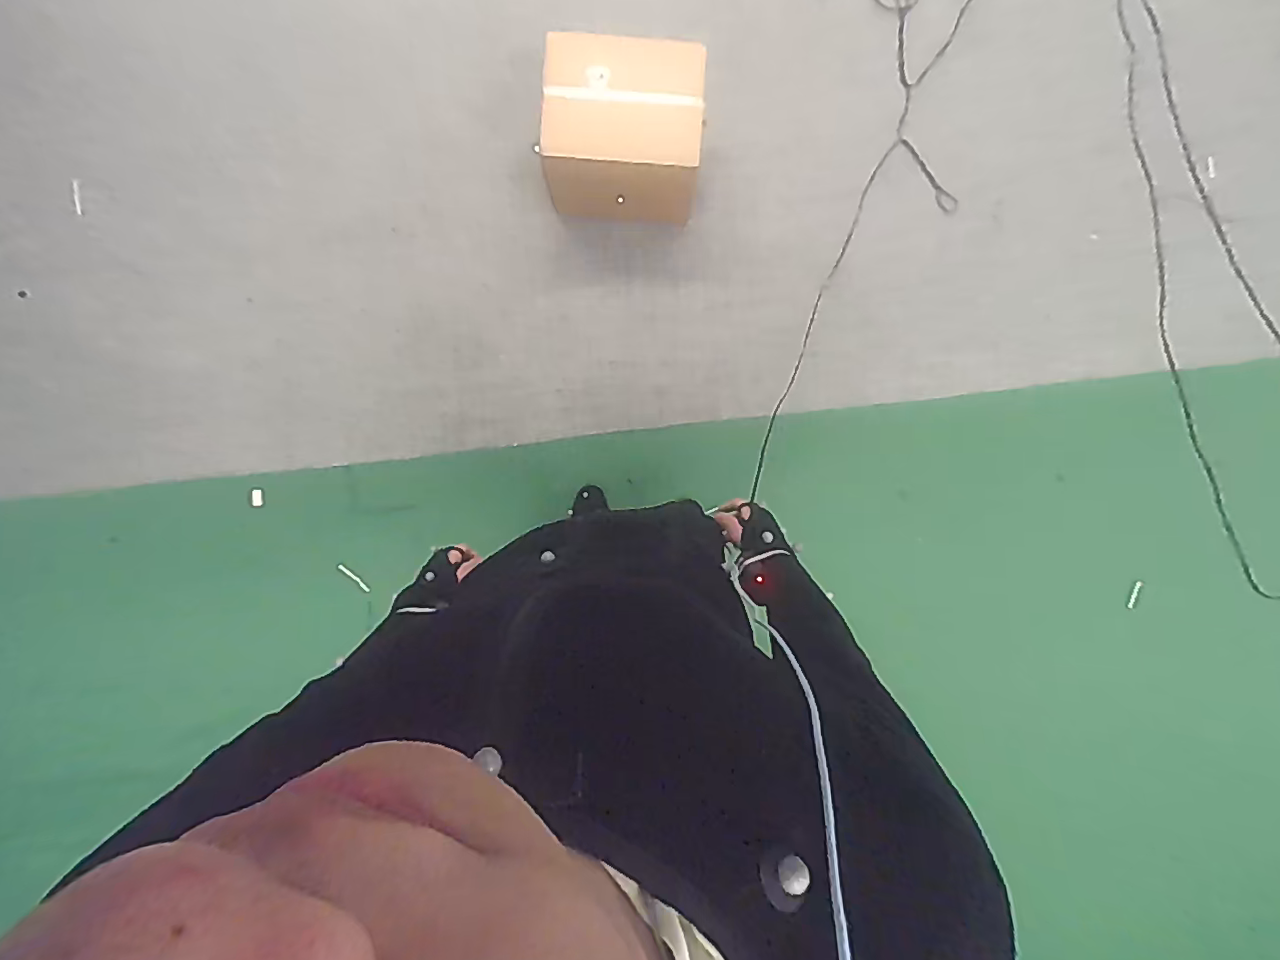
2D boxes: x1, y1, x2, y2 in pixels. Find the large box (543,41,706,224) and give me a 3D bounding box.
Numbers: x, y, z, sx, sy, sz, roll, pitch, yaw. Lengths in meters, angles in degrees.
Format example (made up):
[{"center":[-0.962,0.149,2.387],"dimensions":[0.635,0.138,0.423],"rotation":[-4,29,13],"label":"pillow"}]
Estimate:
[{"center":[-0.037,-0.940,1.502],"dimensions":[0.408,0.320,0.320],"rotation":[4,89,0],"label":"large box"}]
